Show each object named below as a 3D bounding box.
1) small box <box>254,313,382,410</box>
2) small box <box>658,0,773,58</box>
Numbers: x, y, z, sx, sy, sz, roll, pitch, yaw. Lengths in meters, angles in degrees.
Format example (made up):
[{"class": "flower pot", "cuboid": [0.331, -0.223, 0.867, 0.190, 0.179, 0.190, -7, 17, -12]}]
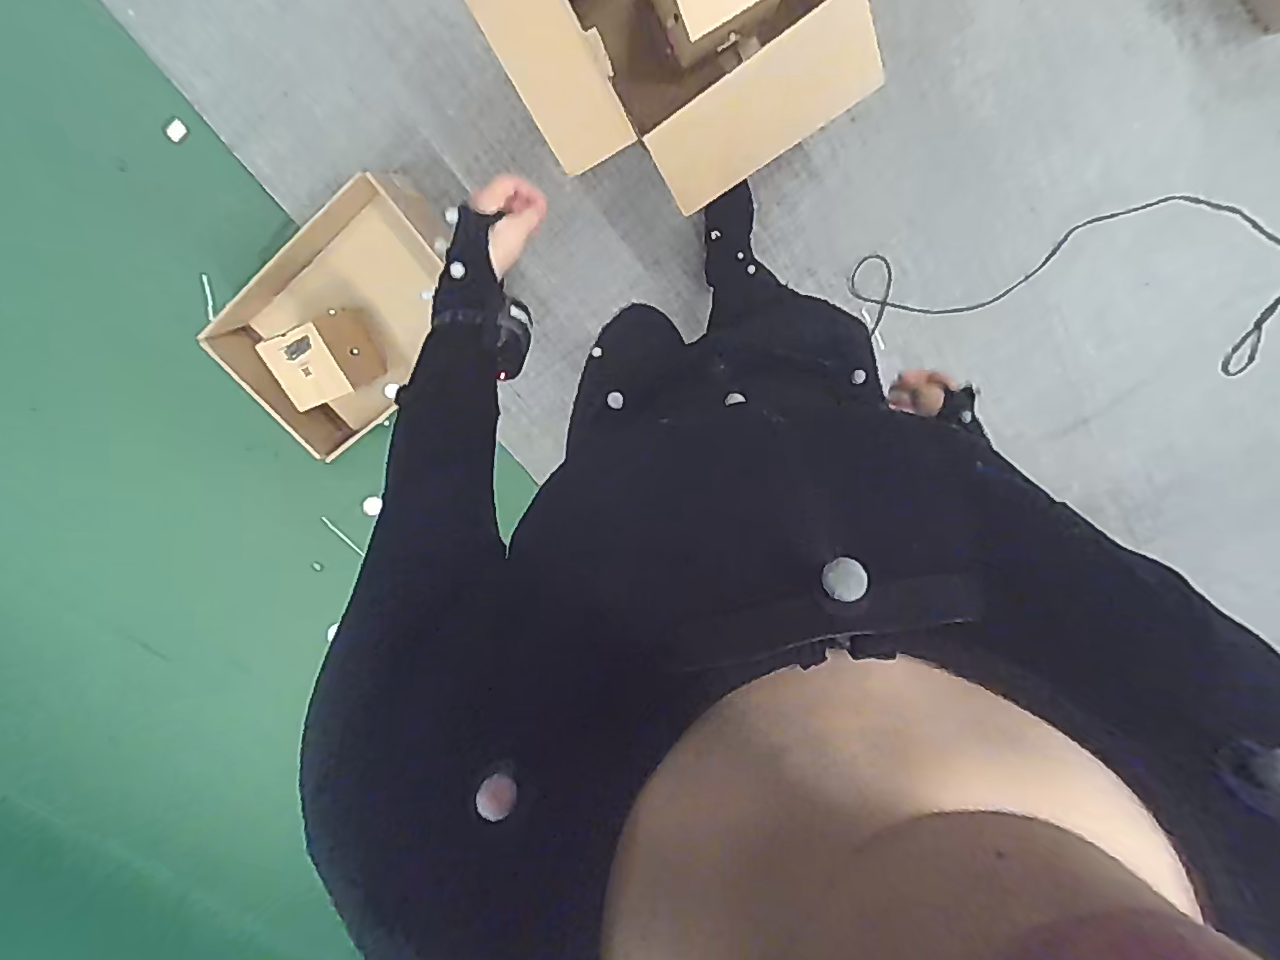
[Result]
[{"class": "small box", "cuboid": [-0.779, -0.298, 1.328, 0.168, 0.176, 0.179, -17, 114, 11]}, {"class": "small box", "cuboid": [0.112, -0.811, 0.855, 0.168, 0.176, 0.179, -24, 113, 12]}]
